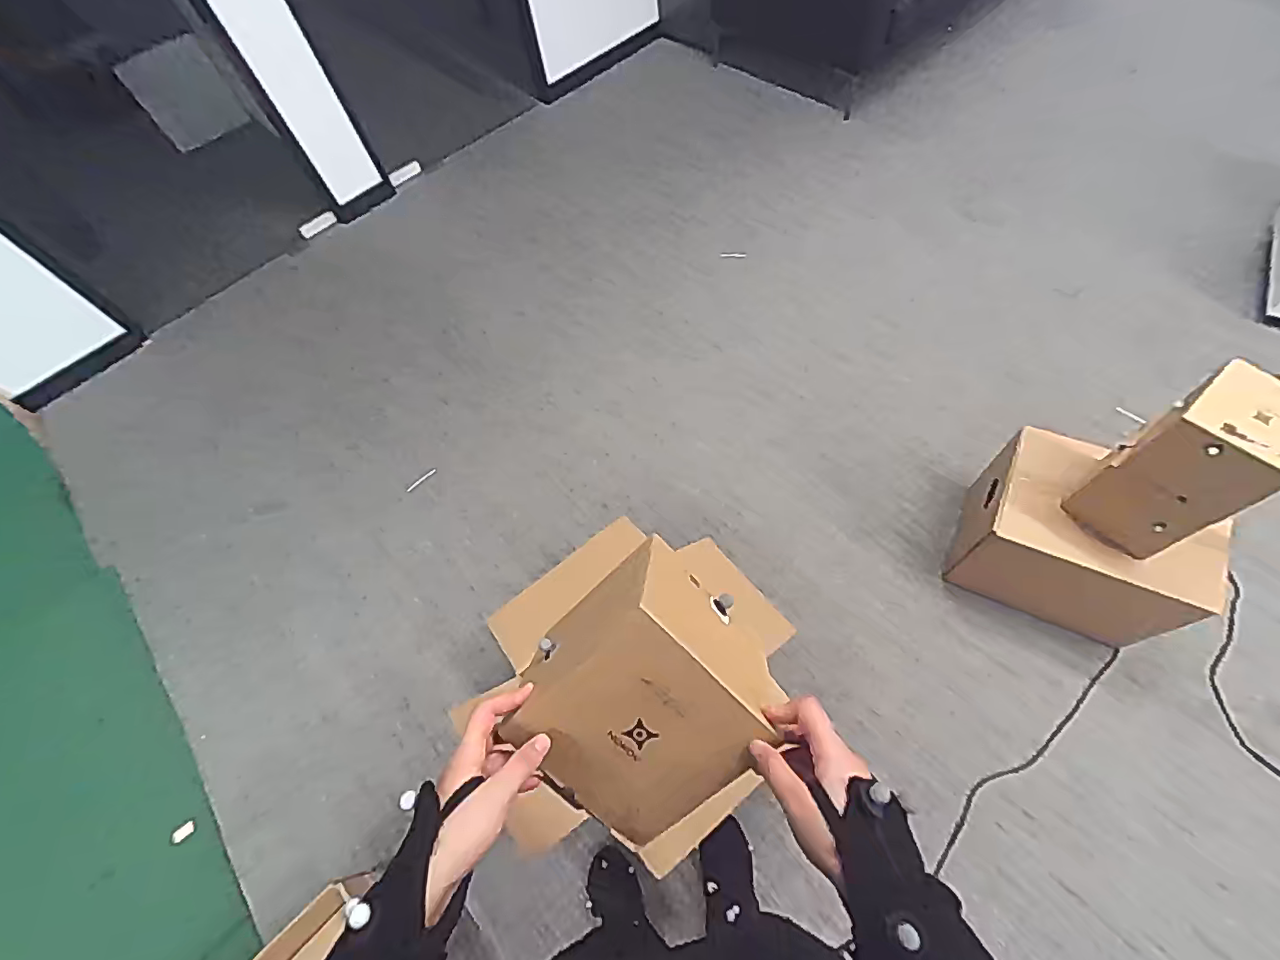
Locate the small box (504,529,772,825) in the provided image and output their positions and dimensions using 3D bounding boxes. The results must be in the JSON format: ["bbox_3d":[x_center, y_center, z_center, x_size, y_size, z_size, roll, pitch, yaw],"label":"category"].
[{"bbox_3d":[0.003,0.180,0.537,0.168,0.176,0.179,44,102,-7],"label":"small box"}]

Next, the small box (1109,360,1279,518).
[{"bbox_3d":[0.986,-0.067,0.944,0.179,0.176,0.168,-38,63,-16],"label":"small box"}]
